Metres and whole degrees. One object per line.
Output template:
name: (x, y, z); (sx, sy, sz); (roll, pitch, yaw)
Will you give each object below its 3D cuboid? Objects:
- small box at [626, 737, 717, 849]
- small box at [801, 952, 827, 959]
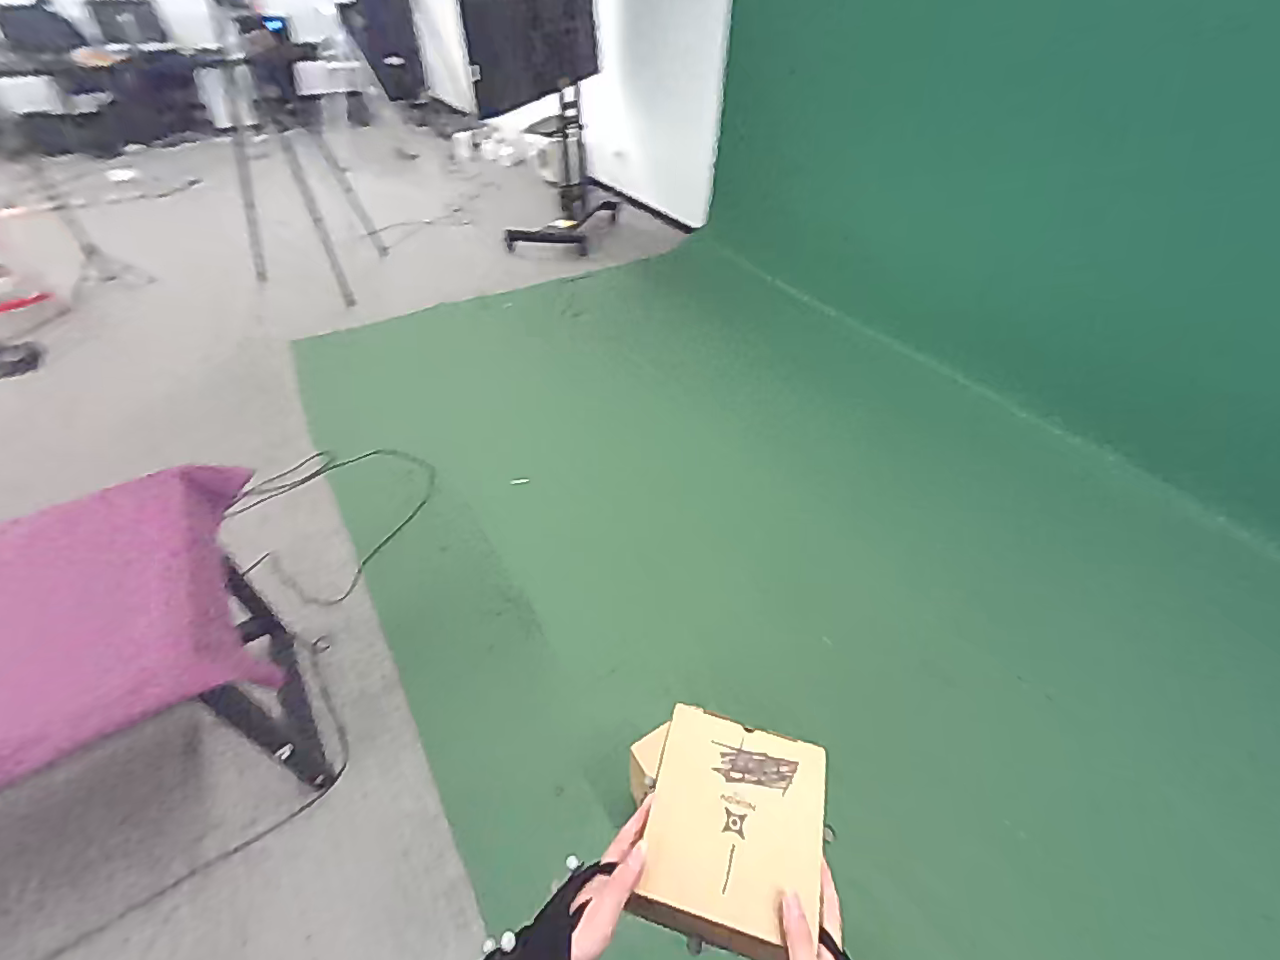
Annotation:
small box: (0.079, 0.819, 1.411); (0.179, 0.176, 0.168); (-22, 48, -24)
small box: (0.341, 1.119, 1.105); (0.179, 0.176, 0.168); (-22, 49, -23)
